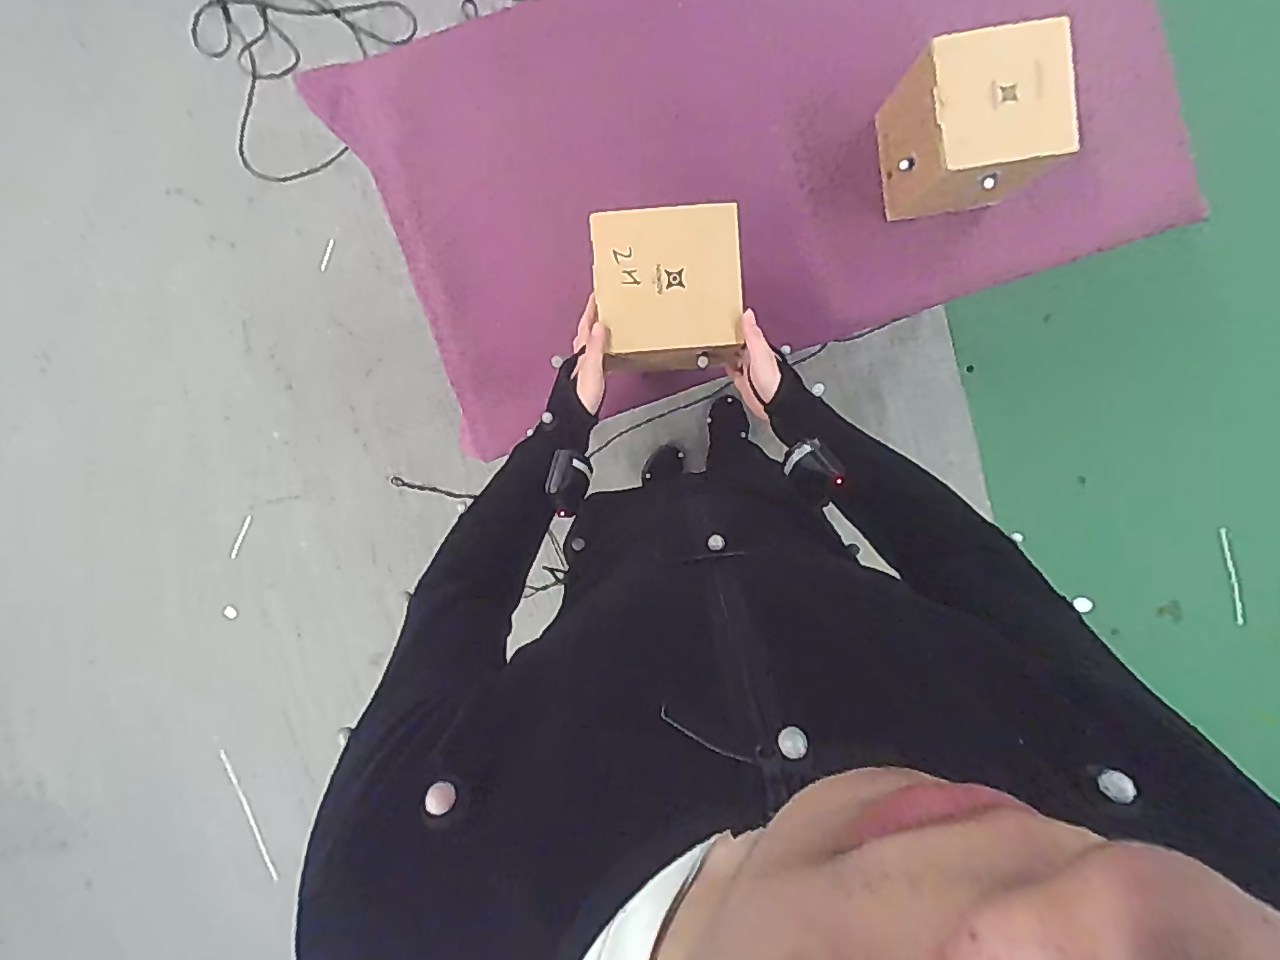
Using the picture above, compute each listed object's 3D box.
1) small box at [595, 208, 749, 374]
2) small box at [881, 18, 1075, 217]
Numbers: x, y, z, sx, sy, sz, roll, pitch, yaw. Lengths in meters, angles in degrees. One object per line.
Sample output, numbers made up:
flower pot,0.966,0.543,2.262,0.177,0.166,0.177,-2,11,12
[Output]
small box,0.038,-0.235,0.711,0.179,0.176,0.168,-4,93,1
small box,0.459,-0.493,0.764,0.179,0.176,0.168,-8,95,0
